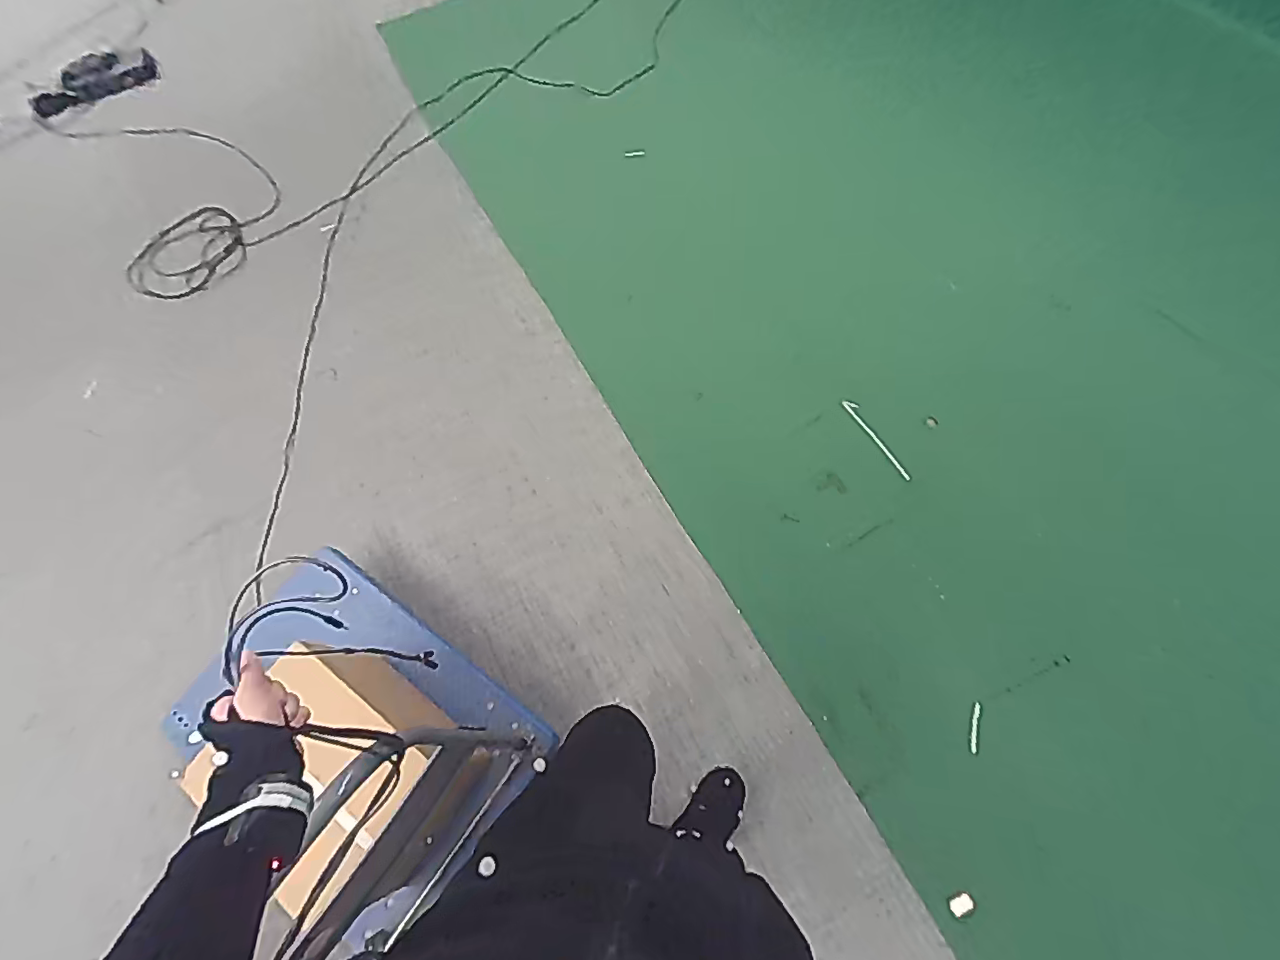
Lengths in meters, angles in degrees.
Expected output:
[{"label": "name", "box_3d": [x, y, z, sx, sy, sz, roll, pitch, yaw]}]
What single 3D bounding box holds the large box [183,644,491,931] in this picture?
[{"label": "large box", "box_3d": [-0.599, 0.602, 1.131, 0.408, 0.320, 0.320, 30, 73, 19]}]
